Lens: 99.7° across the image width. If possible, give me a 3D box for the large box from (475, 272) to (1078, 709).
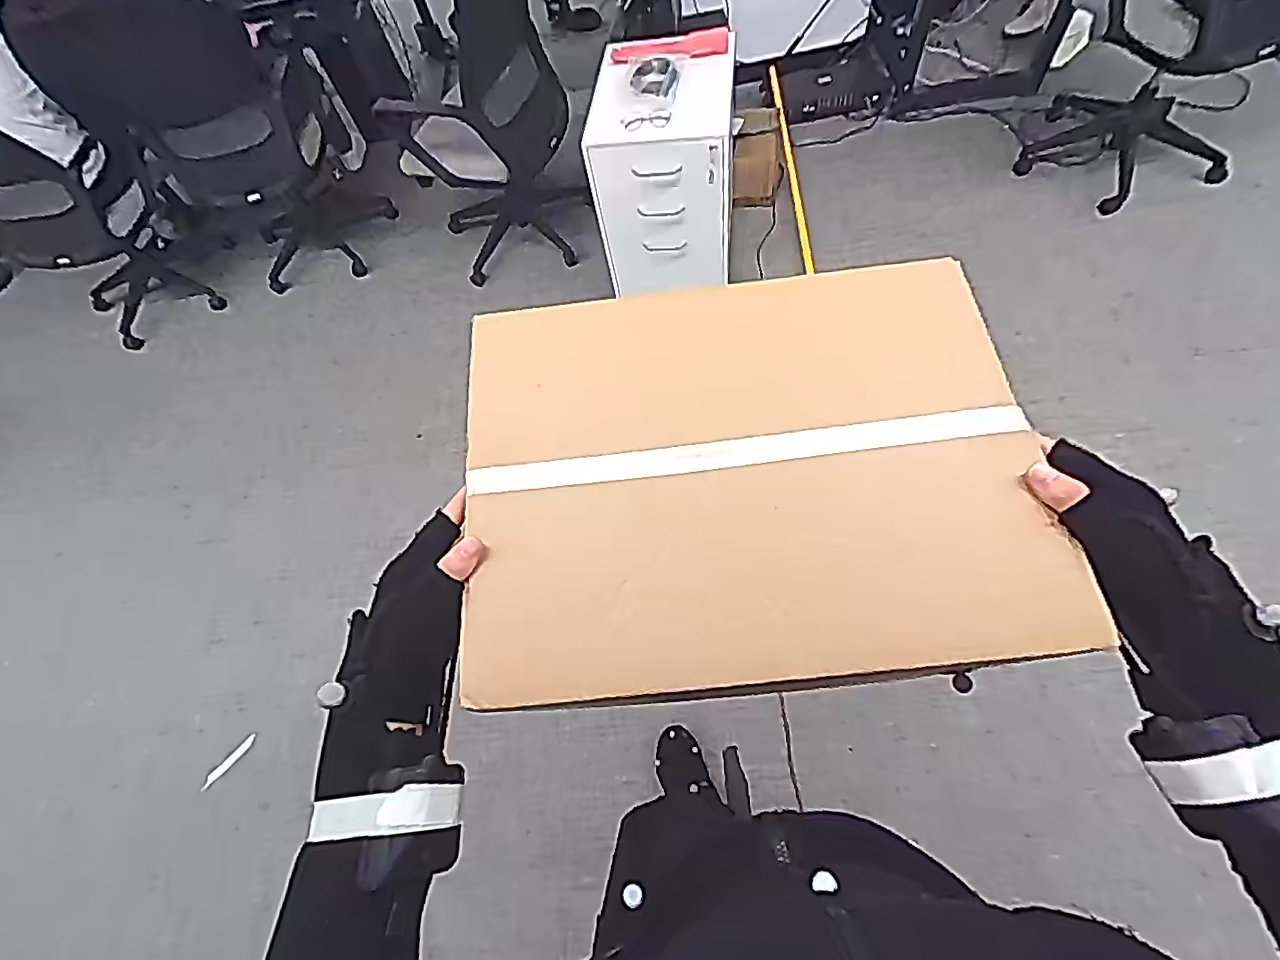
[{"bbox_3d":[0.085,0.043,0.546,0.408,0.320,0.320,-7,66,2],"label":"large box"}]
